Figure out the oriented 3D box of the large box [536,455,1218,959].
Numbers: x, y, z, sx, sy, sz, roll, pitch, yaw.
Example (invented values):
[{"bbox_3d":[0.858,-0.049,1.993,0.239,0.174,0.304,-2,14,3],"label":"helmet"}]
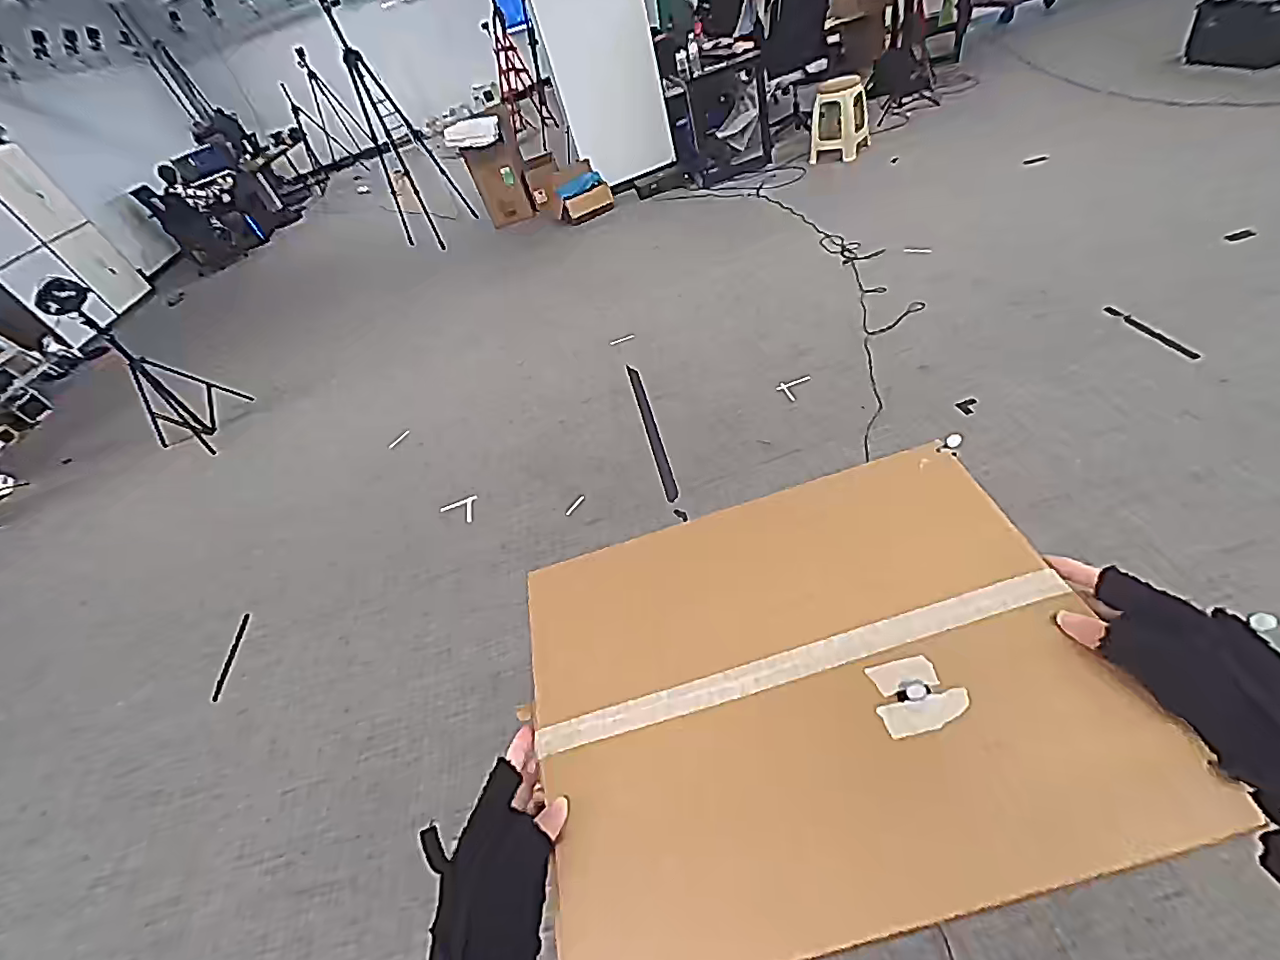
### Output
[{"bbox_3d":[0.152,0.240,0.527,0.408,0.320,0.320,-18,49,2],"label":"large box"}]
